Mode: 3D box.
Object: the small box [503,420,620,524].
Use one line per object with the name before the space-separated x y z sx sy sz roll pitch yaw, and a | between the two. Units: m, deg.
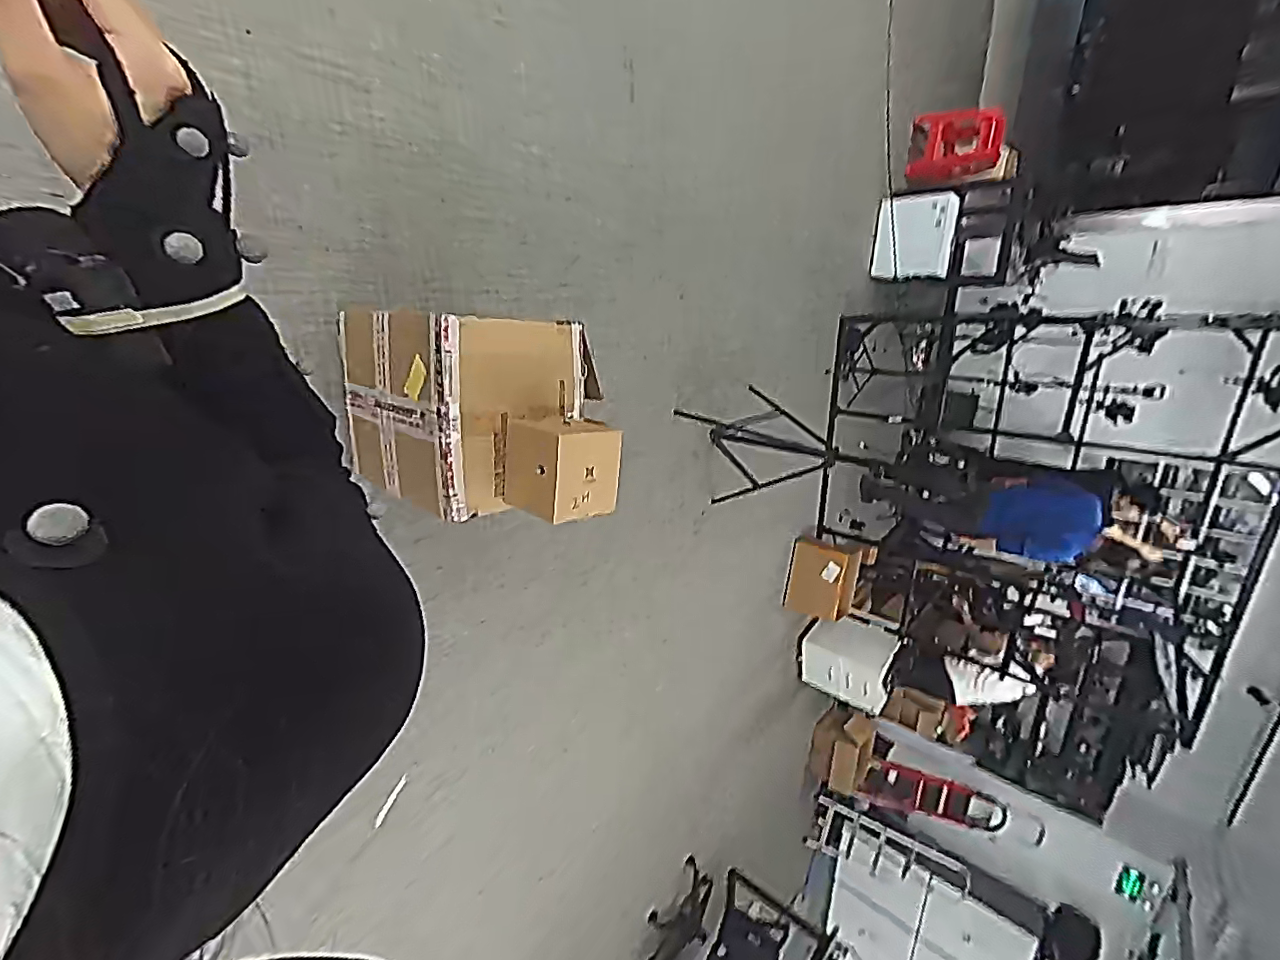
small box | -0.163 -0.026 1.104 0.168 0.176 0.179 -8 110 -46
